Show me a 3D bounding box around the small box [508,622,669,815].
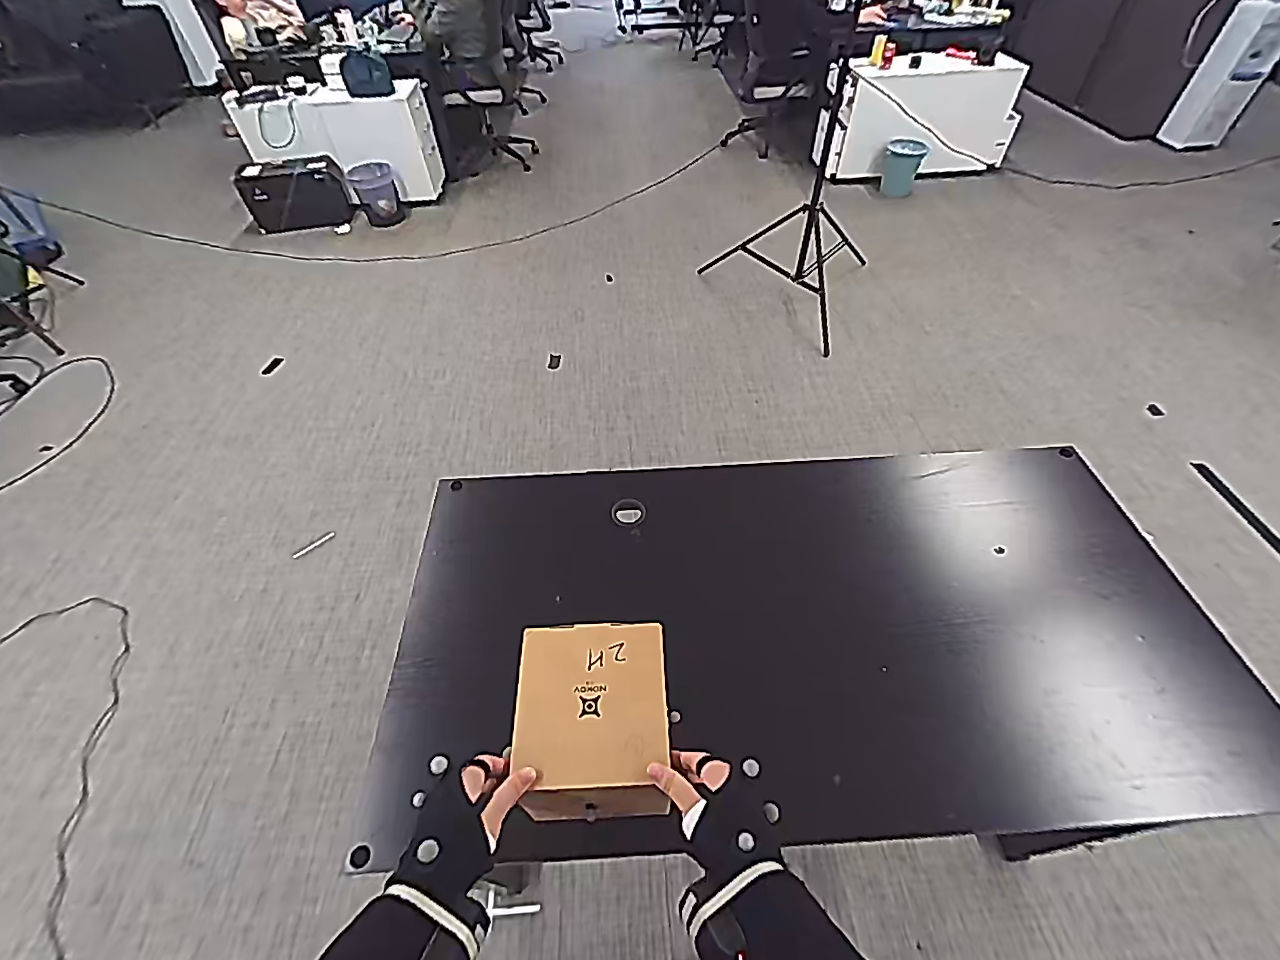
[{"bbox_3d":[-0.051,0.292,0.654,0.168,0.176,0.179,-3,49,0],"label":"small box"}]
